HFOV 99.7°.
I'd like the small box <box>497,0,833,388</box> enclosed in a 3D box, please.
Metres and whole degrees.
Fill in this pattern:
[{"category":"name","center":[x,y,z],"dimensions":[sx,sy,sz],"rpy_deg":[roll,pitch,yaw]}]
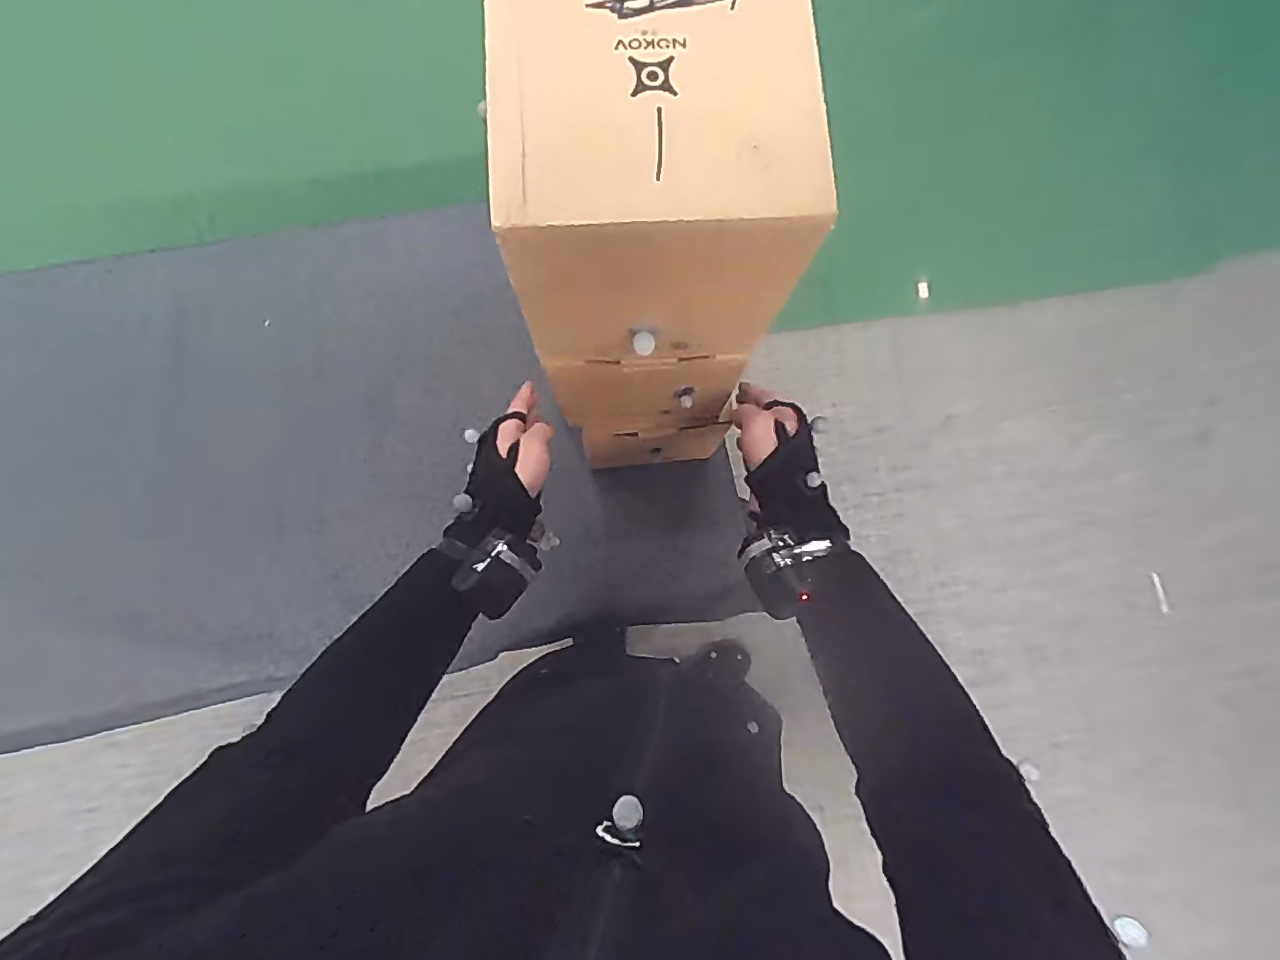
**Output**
[{"category":"small box","center":[0.006,-0.174,0.355],"dimensions":[0.168,0.176,0.179],"rpy_deg":[-4,81,-3]}]

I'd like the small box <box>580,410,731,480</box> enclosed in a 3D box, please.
[{"category":"small box","center":[0.009,-0.100,0.674],"dimensions":[0.168,0.176,0.179],"rpy_deg":[-7,80,-3]}]

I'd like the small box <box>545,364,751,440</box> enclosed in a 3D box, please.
[{"category":"small box","center":[0.000,-0.141,0.517],"dimensions":[0.168,0.176,0.179],"rpy_deg":[-4,78,-3]}]
